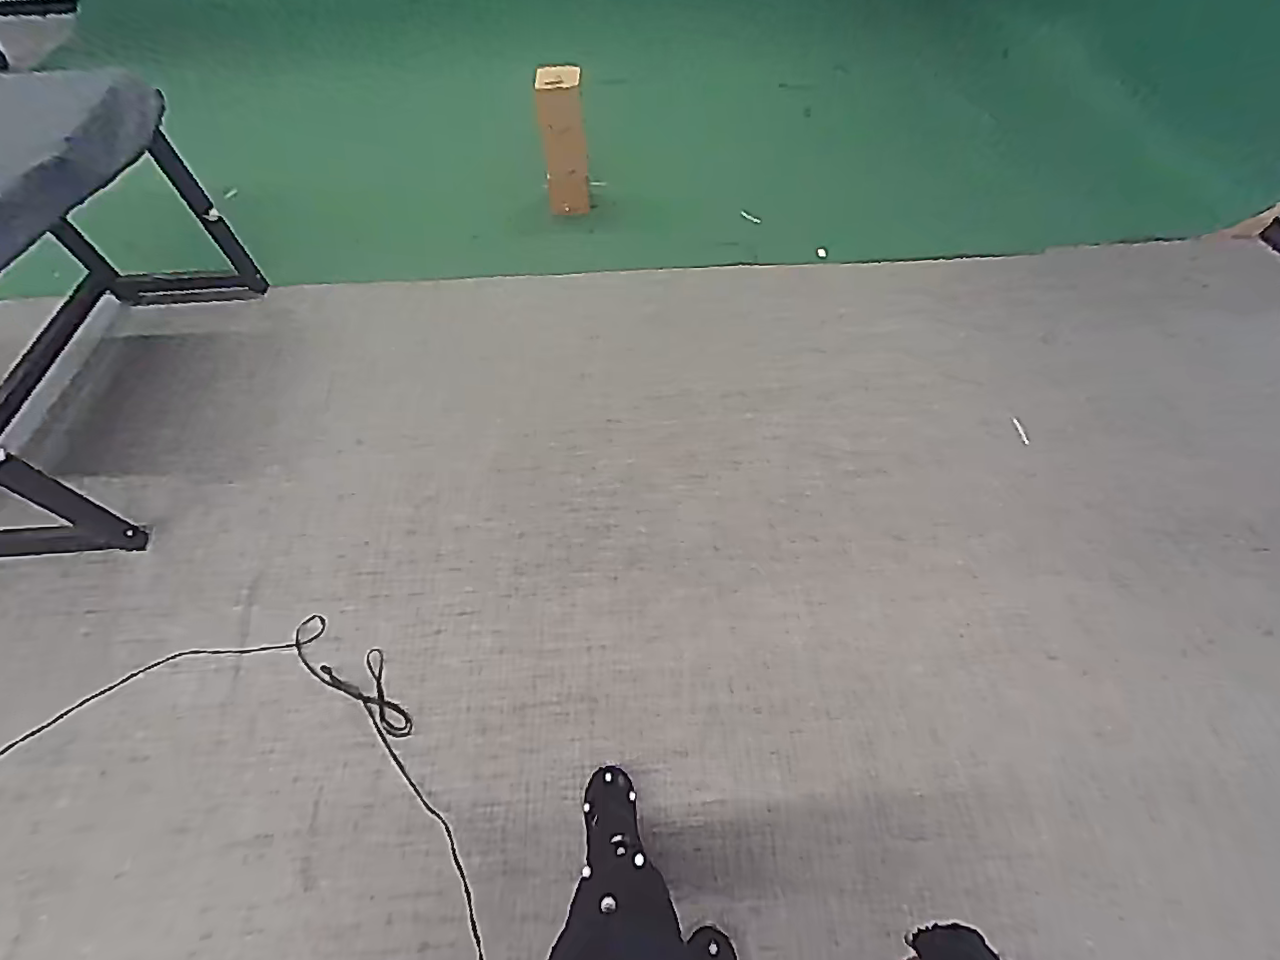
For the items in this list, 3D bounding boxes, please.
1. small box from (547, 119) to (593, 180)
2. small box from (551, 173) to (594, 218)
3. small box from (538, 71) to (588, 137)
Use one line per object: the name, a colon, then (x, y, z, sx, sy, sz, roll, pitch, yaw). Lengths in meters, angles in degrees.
small box: (-0.289, -1.378, 2.255, 0.168, 0.176, 0.179, -3, 56, 1)
small box: (-0.293, -1.285, 2.390, 0.168, 0.176, 0.179, -3, 59, 1)
small box: (-0.296, -1.466, 2.116, 0.168, 0.176, 0.179, -2, 56, 0)
